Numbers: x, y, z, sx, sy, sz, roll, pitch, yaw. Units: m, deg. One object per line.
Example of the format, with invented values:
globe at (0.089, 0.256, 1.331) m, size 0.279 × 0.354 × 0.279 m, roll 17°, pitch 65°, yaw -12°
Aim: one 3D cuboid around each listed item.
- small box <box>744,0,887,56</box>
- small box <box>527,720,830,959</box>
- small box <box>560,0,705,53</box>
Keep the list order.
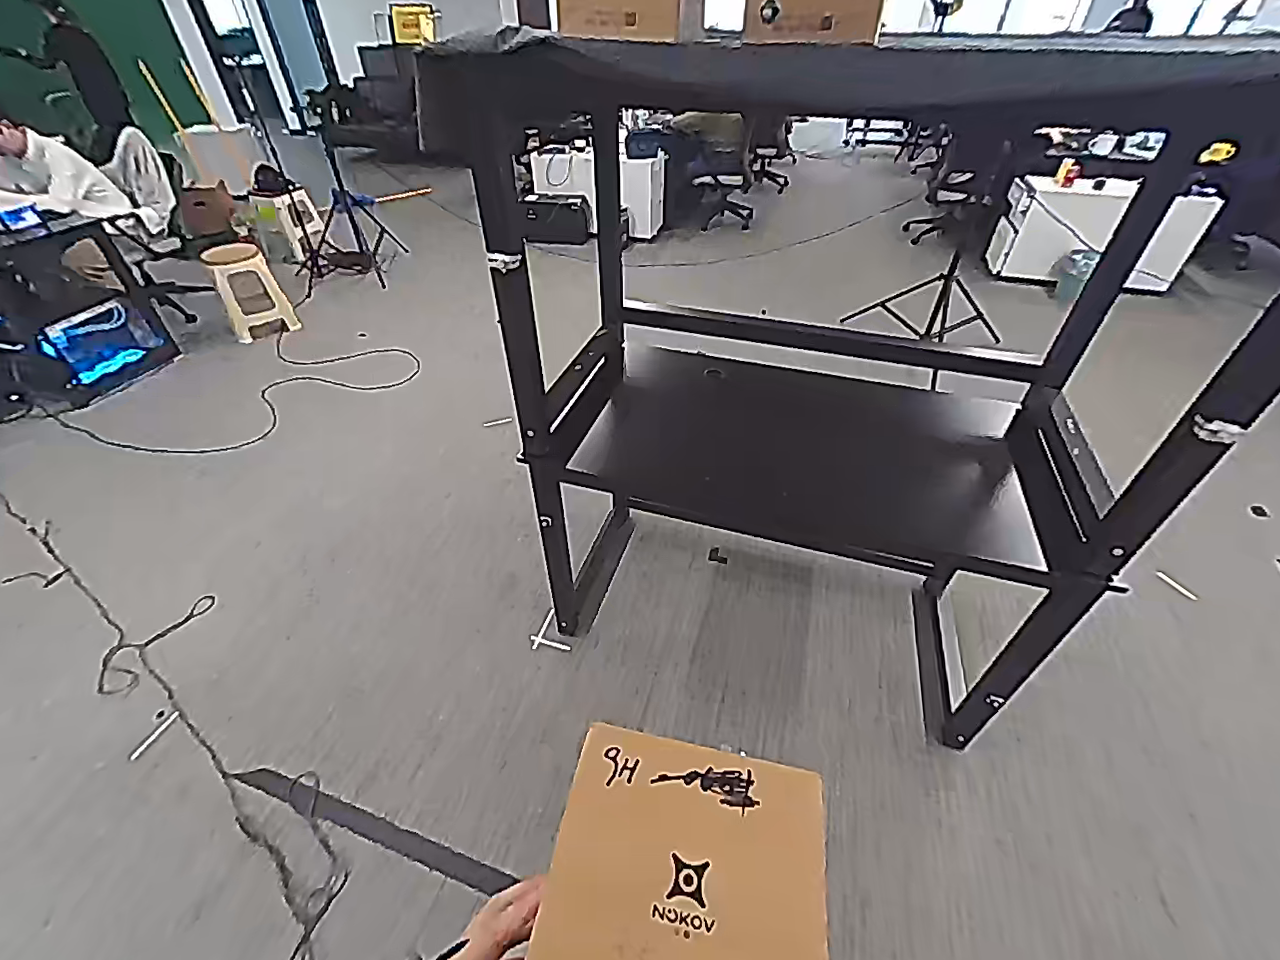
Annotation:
small box at (0.233, -0.649, 0.685) m, size 0.168 × 0.176 × 0.179 m, roll 13°, pitch 40°, yaw 15°
small box at (0.027, 0.300, 0.373) m, size 0.168 × 0.176 × 0.179 m, roll 10°, pitch 46°, yaw 7°
small box at (-0.005, -0.682, 0.724) m, size 0.168 × 0.176 × 0.179 m, roll 12°, pitch 40°, yaw 12°
